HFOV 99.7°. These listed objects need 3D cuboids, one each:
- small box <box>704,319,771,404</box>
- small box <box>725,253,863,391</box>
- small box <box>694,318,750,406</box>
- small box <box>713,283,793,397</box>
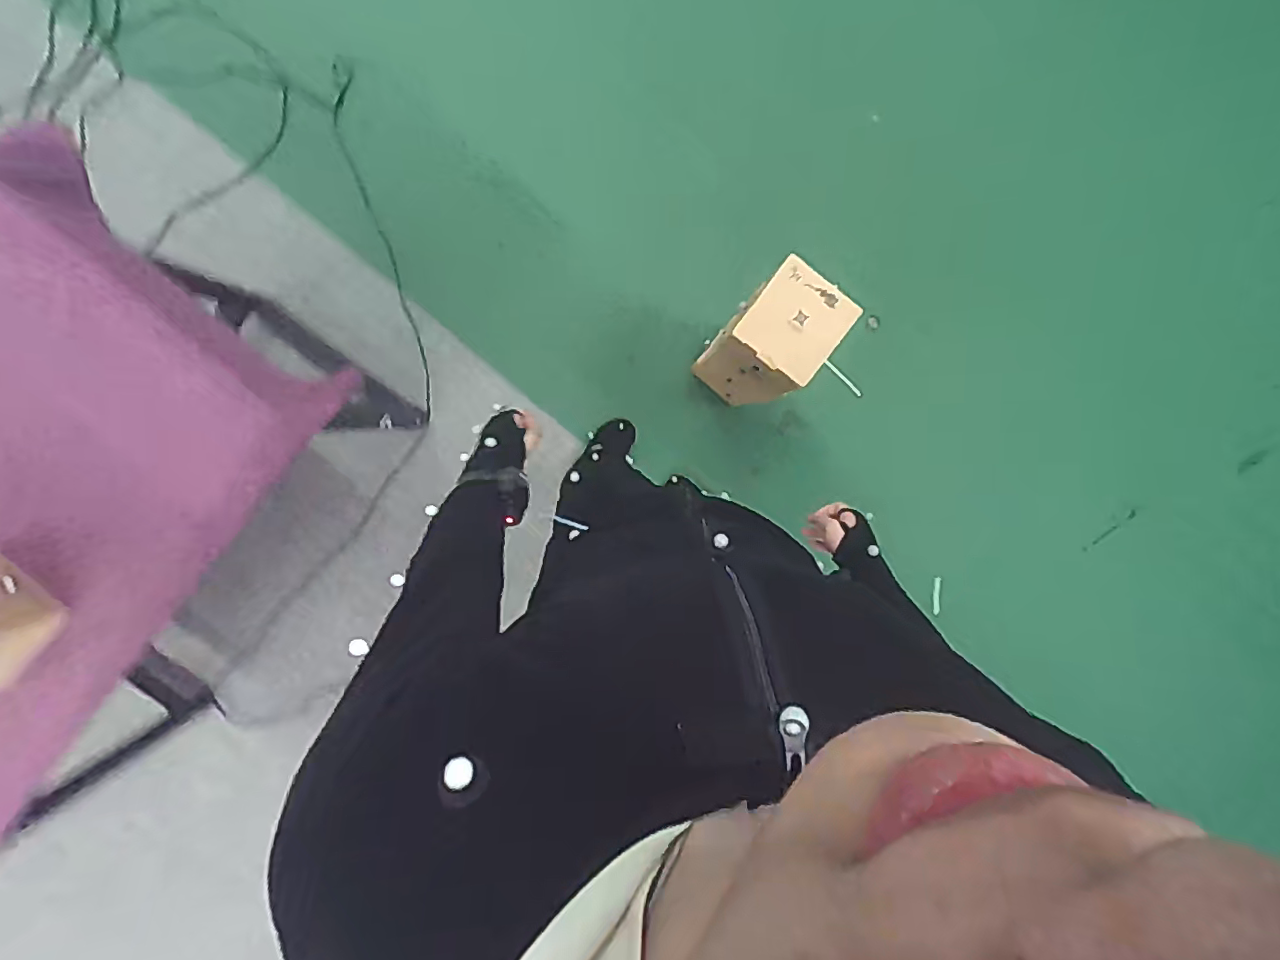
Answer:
[{"bbox_3d":[0.280,-0.307,1.351,0.179,0.176,0.168,38,94,-3],"label":"small box"},{"bbox_3d":[0.277,-0.284,1.024,0.168,0.176,0.179,38,95,-3],"label":"small box"},{"bbox_3d":[0.272,-0.323,1.512,0.179,0.176,0.168,40,94,-4],"label":"small box"},{"bbox_3d":[0.281,-0.294,1.188,0.179,0.176,0.168,36,95,-4],"label":"small box"}]
